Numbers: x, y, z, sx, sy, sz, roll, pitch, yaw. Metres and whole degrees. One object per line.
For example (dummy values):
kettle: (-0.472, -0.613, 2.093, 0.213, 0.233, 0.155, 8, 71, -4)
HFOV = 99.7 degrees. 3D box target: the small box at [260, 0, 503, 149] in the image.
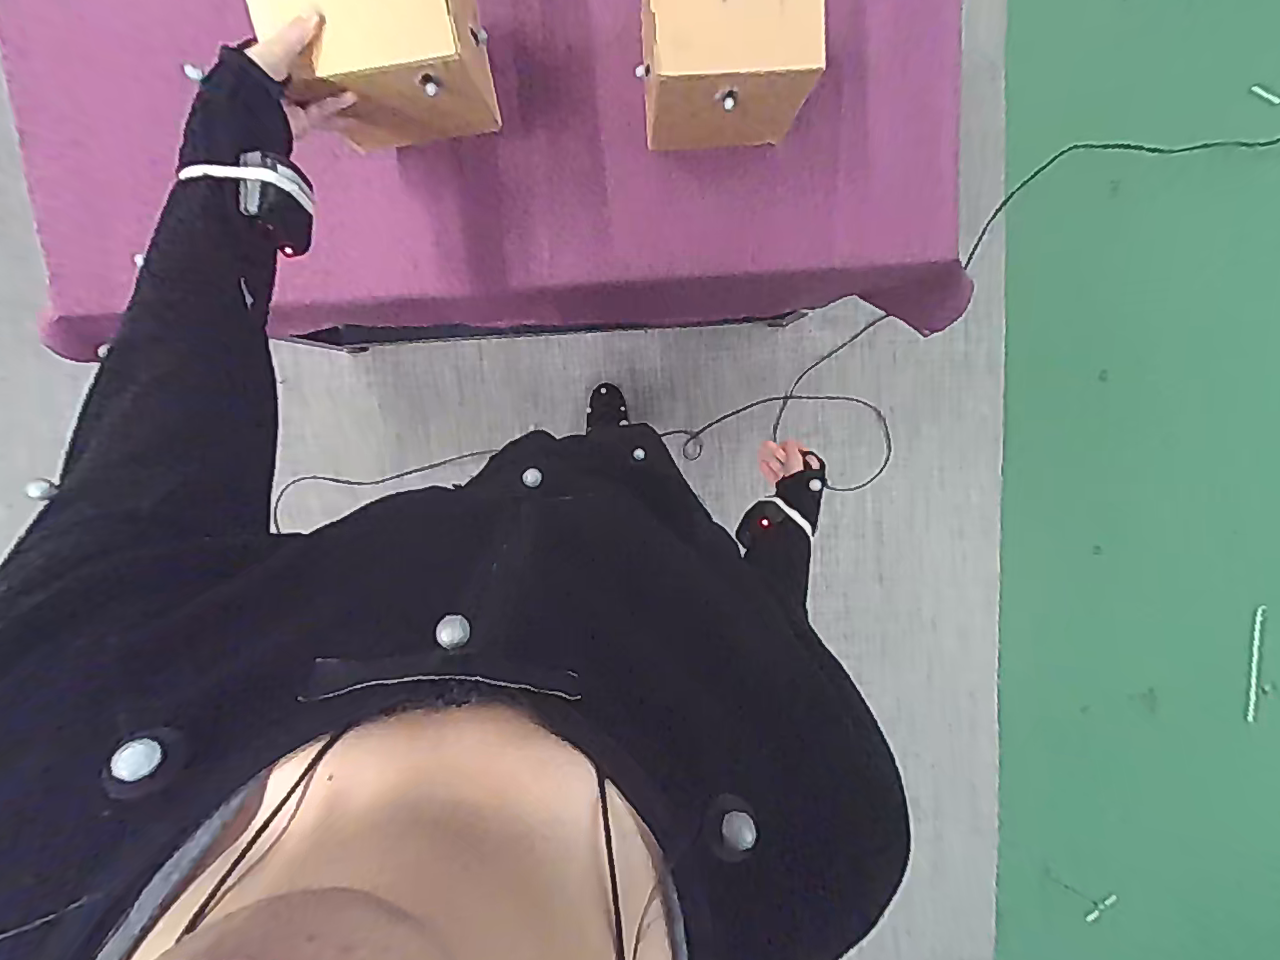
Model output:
small box: (-0.258, -0.468, 0.555, 0.179, 0.176, 0.168, -10, 103, 0)

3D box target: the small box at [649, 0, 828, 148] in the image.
small box: (0.100, -0.503, 0.617, 0.179, 0.176, 0.168, -3, 99, -1)
